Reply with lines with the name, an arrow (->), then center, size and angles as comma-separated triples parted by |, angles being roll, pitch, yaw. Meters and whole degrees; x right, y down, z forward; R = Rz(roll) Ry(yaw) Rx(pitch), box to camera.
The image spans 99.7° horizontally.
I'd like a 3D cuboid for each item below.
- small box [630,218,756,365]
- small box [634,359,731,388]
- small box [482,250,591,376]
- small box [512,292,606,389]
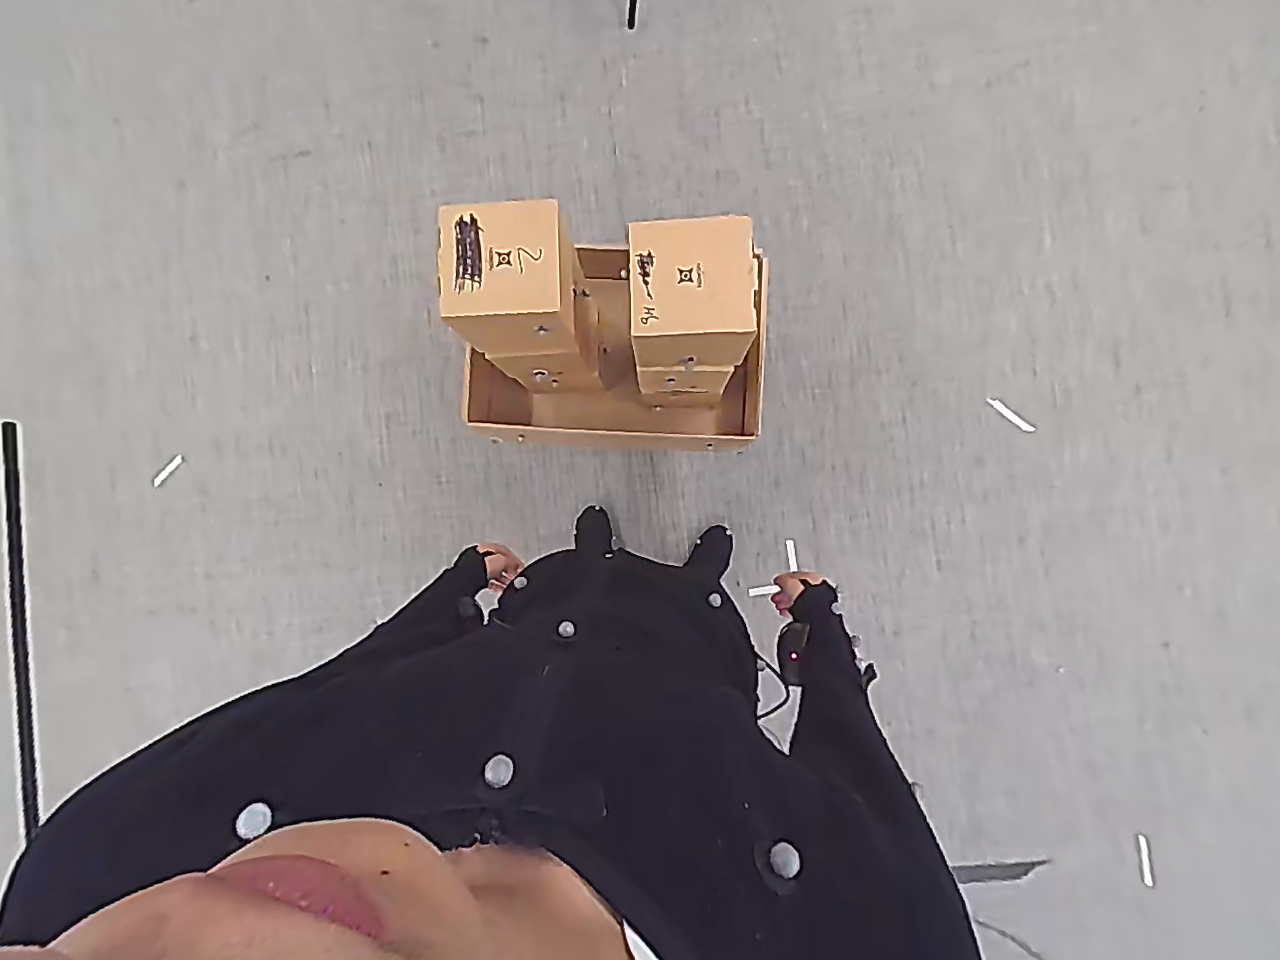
small box -> 0.074, -0.279, 0.830 | 0.179, 0.176, 0.168 | -1, 87, 2
small box -> 0.079, -0.269, 0.994 | 0.168, 0.176, 0.179 | 1, 87, 2
small box -> -0.185, -0.301, 1.004 | 0.168, 0.176, 0.179 | -2, 87, 4
small box -> -0.169, -0.293, 1.167 | 0.179, 0.176, 0.168 | 0, 88, 2
